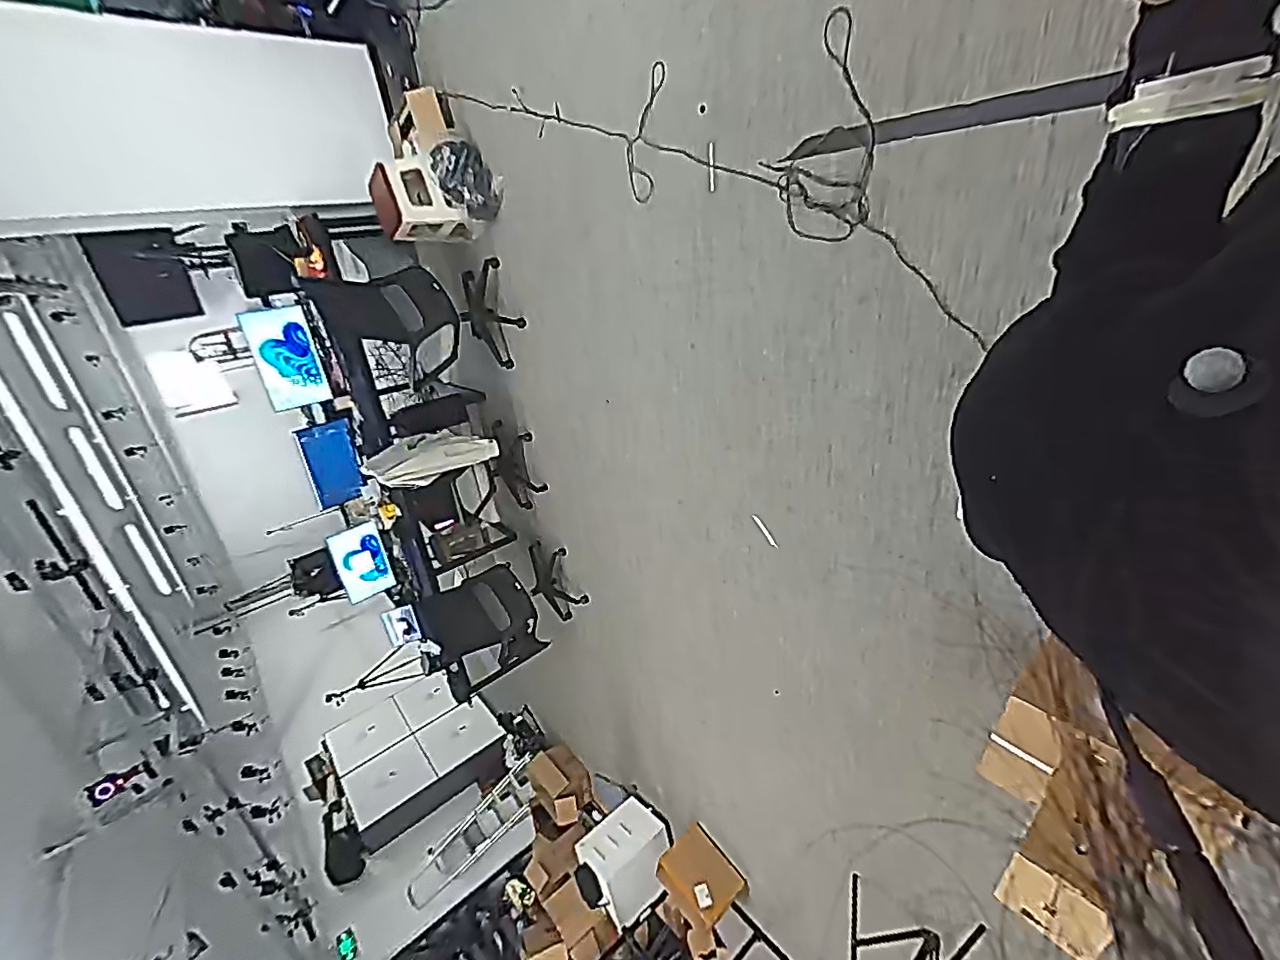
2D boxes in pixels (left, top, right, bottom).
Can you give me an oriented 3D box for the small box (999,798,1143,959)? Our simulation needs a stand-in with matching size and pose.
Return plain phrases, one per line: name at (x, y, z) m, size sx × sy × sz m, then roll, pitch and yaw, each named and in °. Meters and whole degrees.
small box at (0.854, 0.783, 1.071) m, size 0.168 × 0.176 × 0.179 m, roll 27°, pitch 130°, yaw 43°
